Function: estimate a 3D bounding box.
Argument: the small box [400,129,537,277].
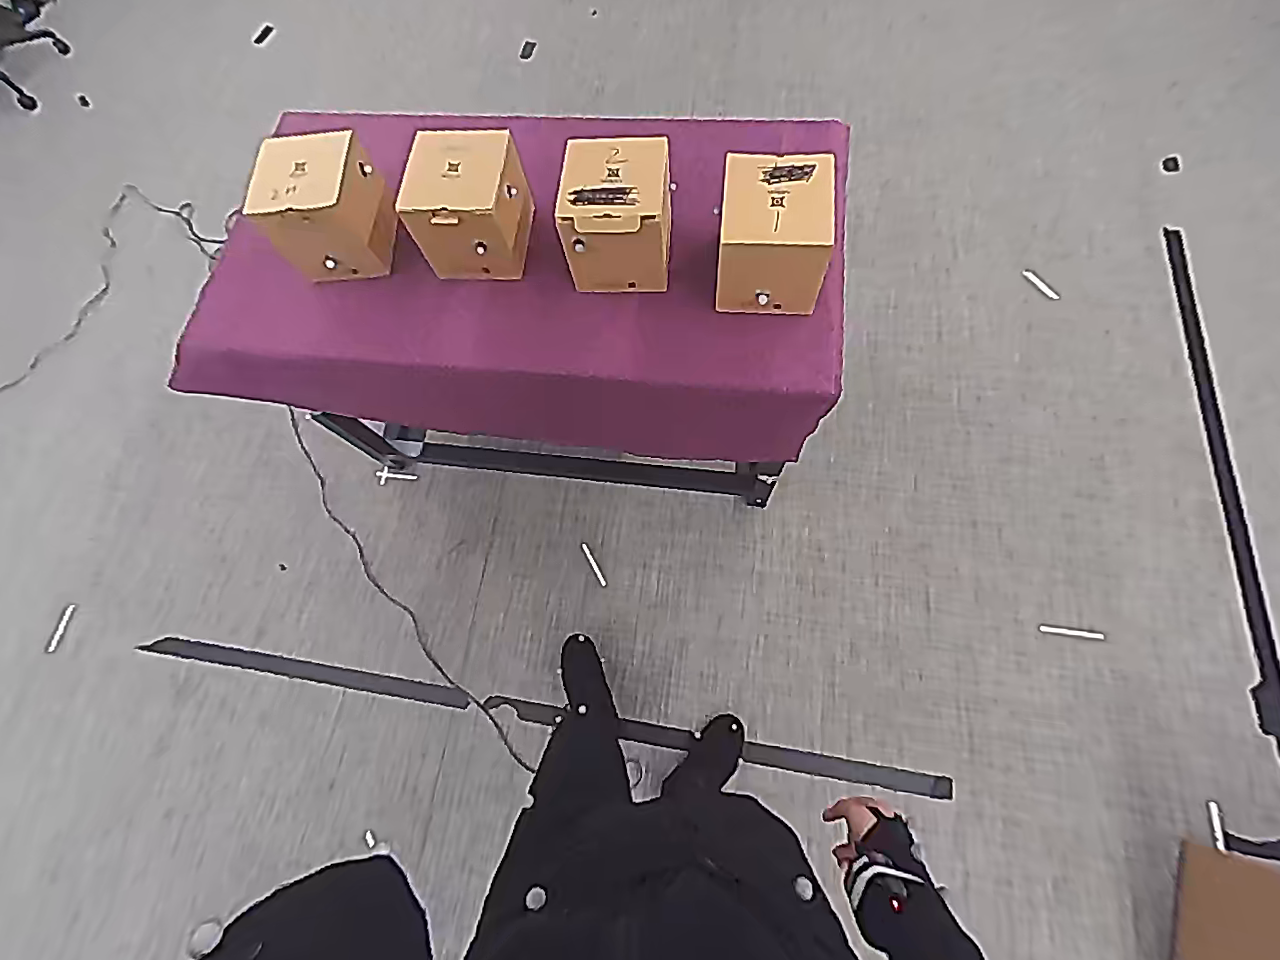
[{"bbox_3d":[-0.292,-0.483,0.959,0.168,0.176,0.179,4,71,6],"label":"small box"}]

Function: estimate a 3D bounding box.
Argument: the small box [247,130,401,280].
[{"bbox_3d":[-0.560,-0.494,0.986,0.168,0.176,0.179,-3,71,5],"label":"small box"}]

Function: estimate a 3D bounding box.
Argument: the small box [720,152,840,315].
[{"bbox_3d":[0.220,-0.395,0.877,0.168,0.176,0.179,4,72,8],"label":"small box"}]
